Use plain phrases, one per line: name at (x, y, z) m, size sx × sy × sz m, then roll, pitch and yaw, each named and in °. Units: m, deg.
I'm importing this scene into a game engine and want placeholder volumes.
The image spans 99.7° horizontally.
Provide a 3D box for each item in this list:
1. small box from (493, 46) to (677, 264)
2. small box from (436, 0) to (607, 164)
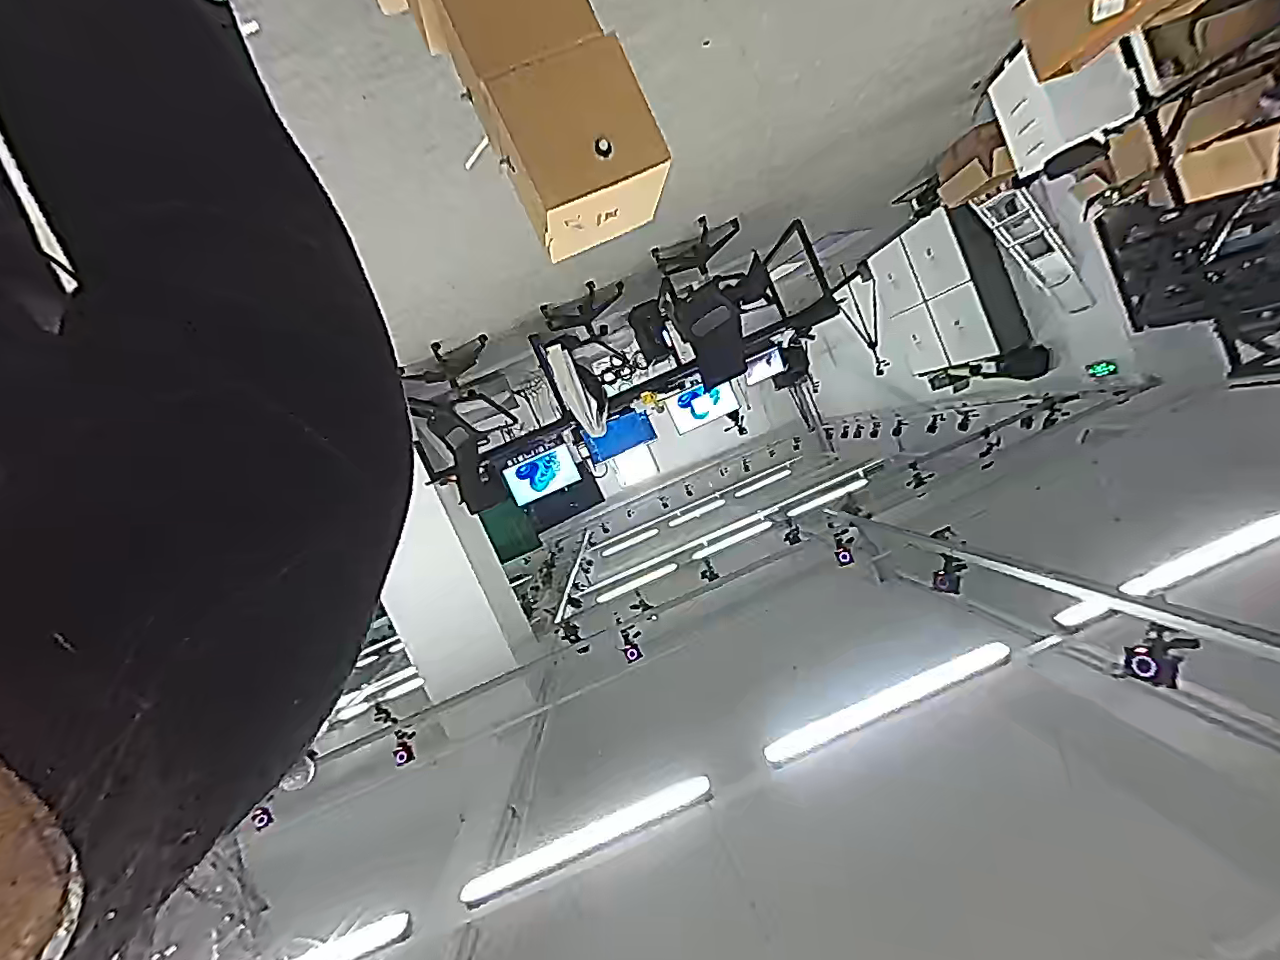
small box at (-0.076, -0.432, 0.734) m, size 0.179 × 0.176 × 0.168 m, roll -26°, pitch -176°, yaw -6°
small box at (-0.156, -0.576, 0.724) m, size 0.168 × 0.176 × 0.179 m, roll -26°, pitch -177°, yaw -4°
